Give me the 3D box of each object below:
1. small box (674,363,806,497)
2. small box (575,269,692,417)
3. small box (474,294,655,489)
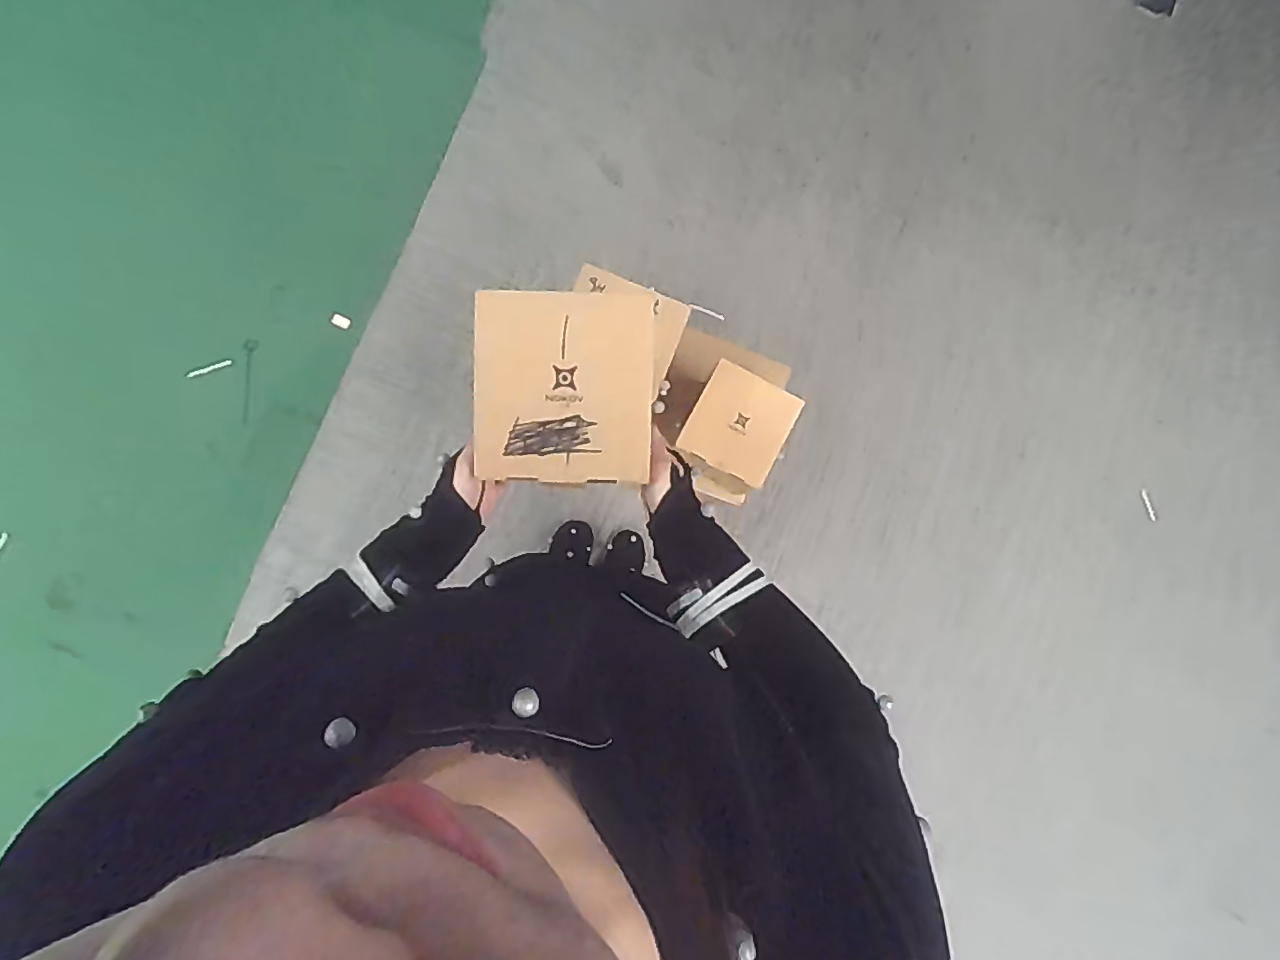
[{"bbox_3d":[0.172,-0.082,0.995,0.168,0.176,0.179,28,86,1],"label":"small box"},{"bbox_3d":[-0.035,-0.184,0.831,0.168,0.176,0.179,22,87,-3],"label":"small box"},{"bbox_3d":[-0.070,-0.085,0.575,0.168,0.176,0.179,1,92,-1],"label":"small box"}]
